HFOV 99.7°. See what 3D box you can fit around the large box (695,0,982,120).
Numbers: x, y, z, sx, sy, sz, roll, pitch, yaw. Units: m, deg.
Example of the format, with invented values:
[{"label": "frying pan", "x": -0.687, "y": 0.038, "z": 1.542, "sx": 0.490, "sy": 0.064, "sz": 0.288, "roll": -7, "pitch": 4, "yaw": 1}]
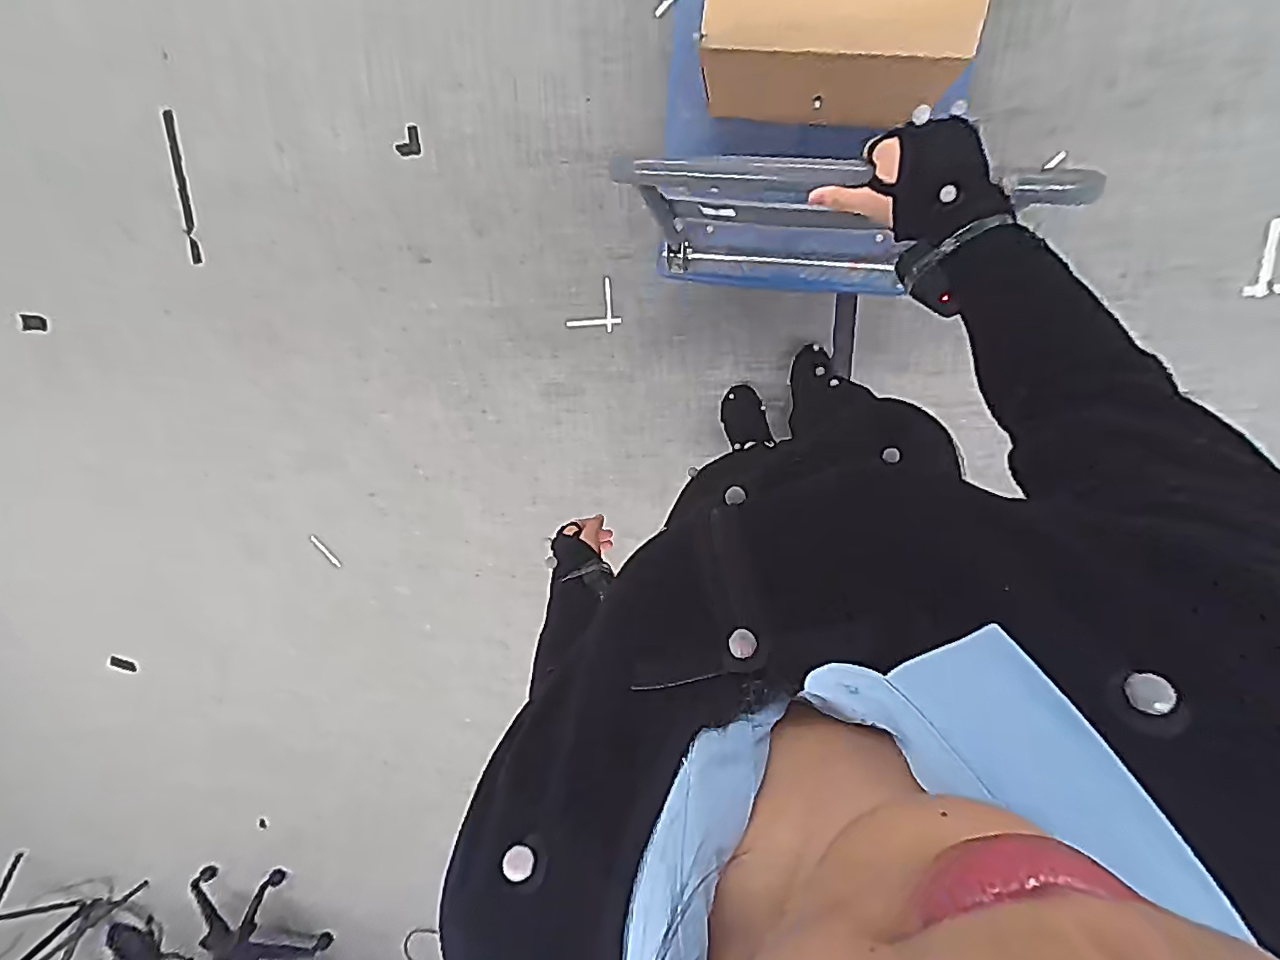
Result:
[{"label": "large box", "x": 0.325, "y": -0.828, "z": 0.895, "sx": 0.408, "sy": 0.320, "sz": 0.320, "roll": 10, "pitch": 107, "yaw": 9}]
